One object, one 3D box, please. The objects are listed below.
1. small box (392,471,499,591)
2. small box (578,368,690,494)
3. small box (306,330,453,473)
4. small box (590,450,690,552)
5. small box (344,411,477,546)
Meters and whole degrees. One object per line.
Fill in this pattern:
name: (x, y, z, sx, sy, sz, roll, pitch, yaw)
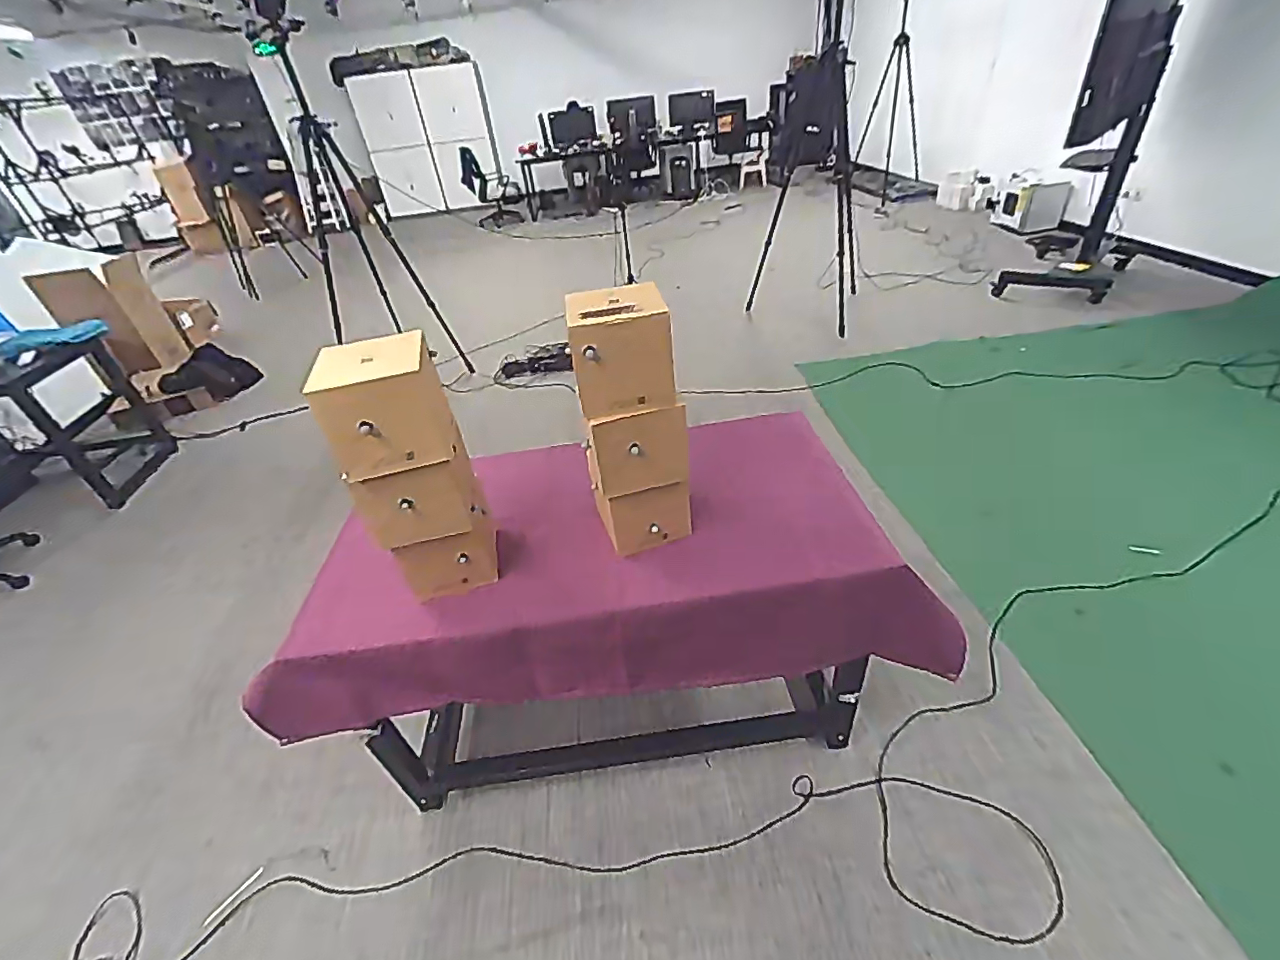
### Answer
small box: (-0.394, 0.111, 1.124, 0.168, 0.176, 0.179, -11, 36, -7)
small box: (-0.012, -0.094, 1.047, 0.179, 0.176, 0.168, -13, 38, -7)
small box: (-0.416, -0.127, 0.899, 0.168, 0.176, 0.179, -14, 37, -10)
small box: (0.000, 0.025, 1.161, 0.168, 0.176, 0.179, -16, 38, -10)
small box: (-0.410, -0.003, 1.005, 0.179, 0.176, 0.168, -12, 37, -6)
